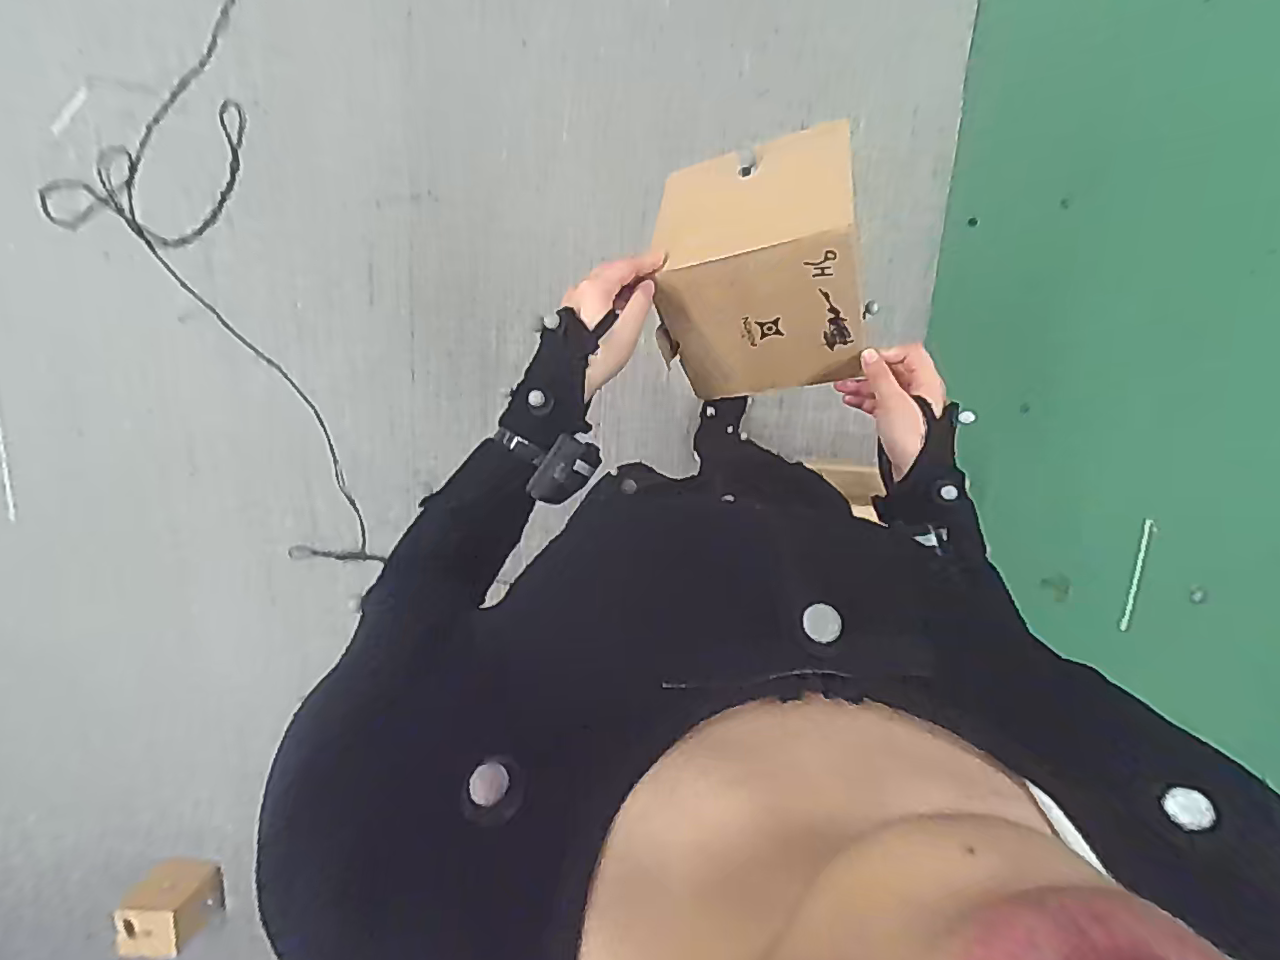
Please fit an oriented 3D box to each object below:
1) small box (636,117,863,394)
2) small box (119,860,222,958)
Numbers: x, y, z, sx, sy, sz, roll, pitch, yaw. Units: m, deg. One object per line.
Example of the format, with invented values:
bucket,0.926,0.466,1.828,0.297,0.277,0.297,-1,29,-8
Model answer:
small box,0.119,-0.209,0.528,0.179,0.176,0.168,-4,145,25
small box,-1.452,1.325,1.680,0.179,0.176,0.168,5,100,1
